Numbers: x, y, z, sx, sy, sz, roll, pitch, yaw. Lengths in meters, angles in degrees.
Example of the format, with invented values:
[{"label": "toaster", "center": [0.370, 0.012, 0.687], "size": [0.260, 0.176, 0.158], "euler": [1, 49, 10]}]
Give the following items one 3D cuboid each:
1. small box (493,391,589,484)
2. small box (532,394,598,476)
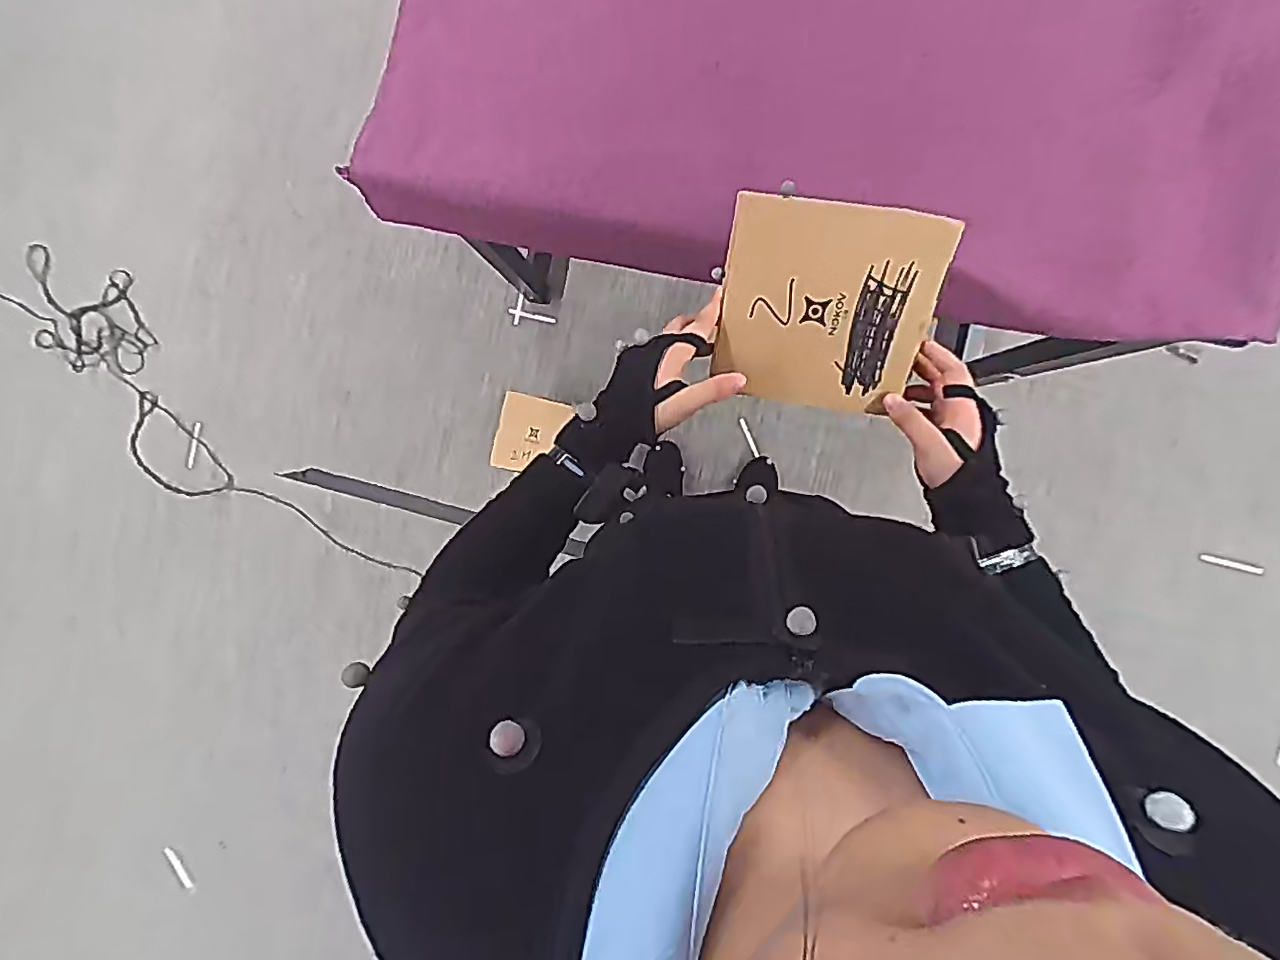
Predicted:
[{"label": "small box", "center": [-0.225, -0.098, 1.275], "size": [0.168, 0.176, 0.179], "euler": [15, 94, 4]}, {"label": "small box", "center": [-0.219, -0.112, 1.440], "size": [0.168, 0.176, 0.179], "euler": [20, 94, 3]}]
